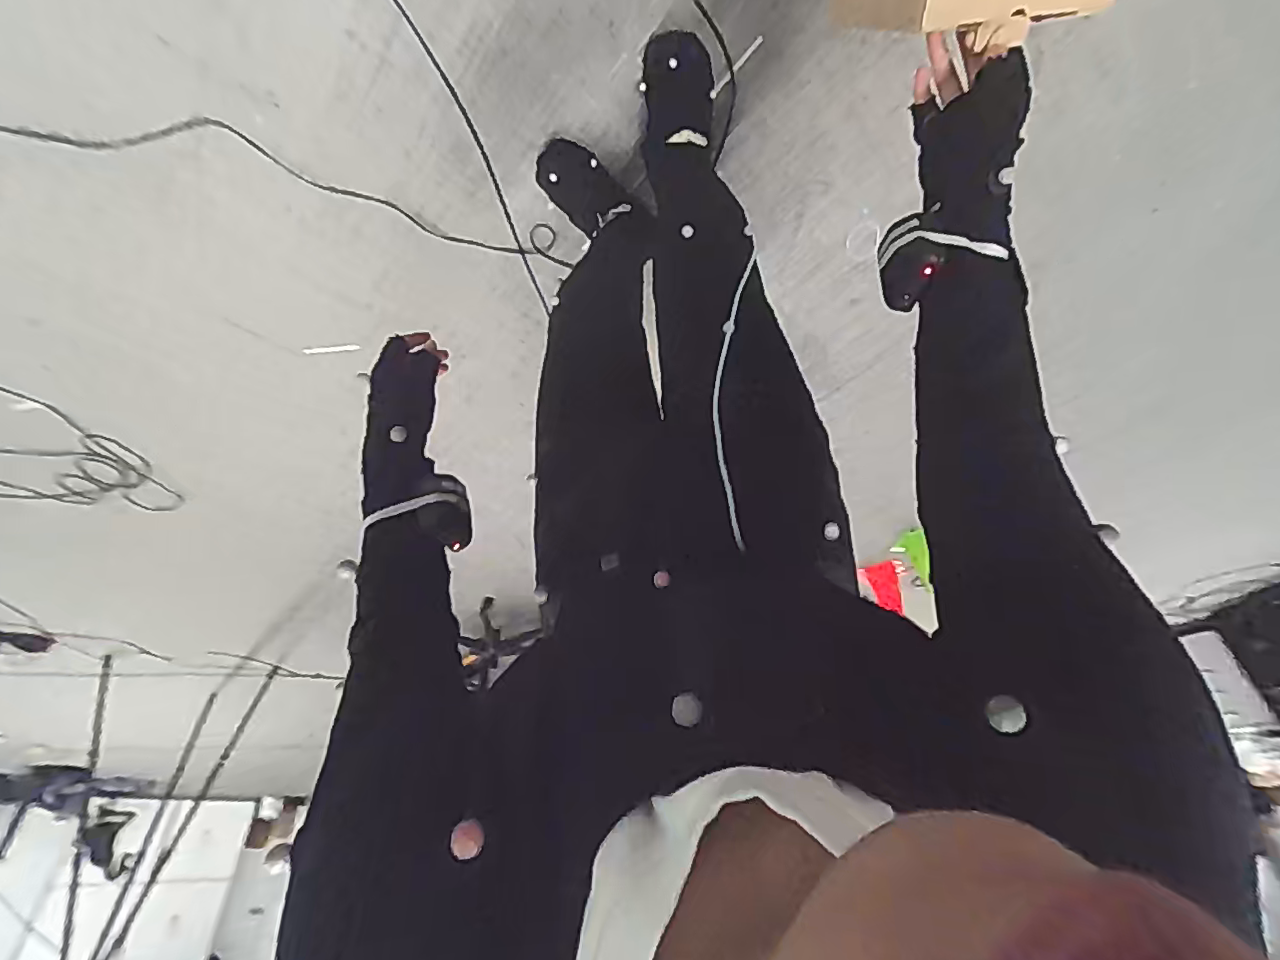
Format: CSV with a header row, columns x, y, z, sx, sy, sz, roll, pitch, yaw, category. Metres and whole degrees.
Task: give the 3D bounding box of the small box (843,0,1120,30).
x,y,z,sx,sy,sz,roll,pitch,yaw,category
0.271,-0.468,0.414,0.168,0.176,0.179,-10,132,-5,small box
